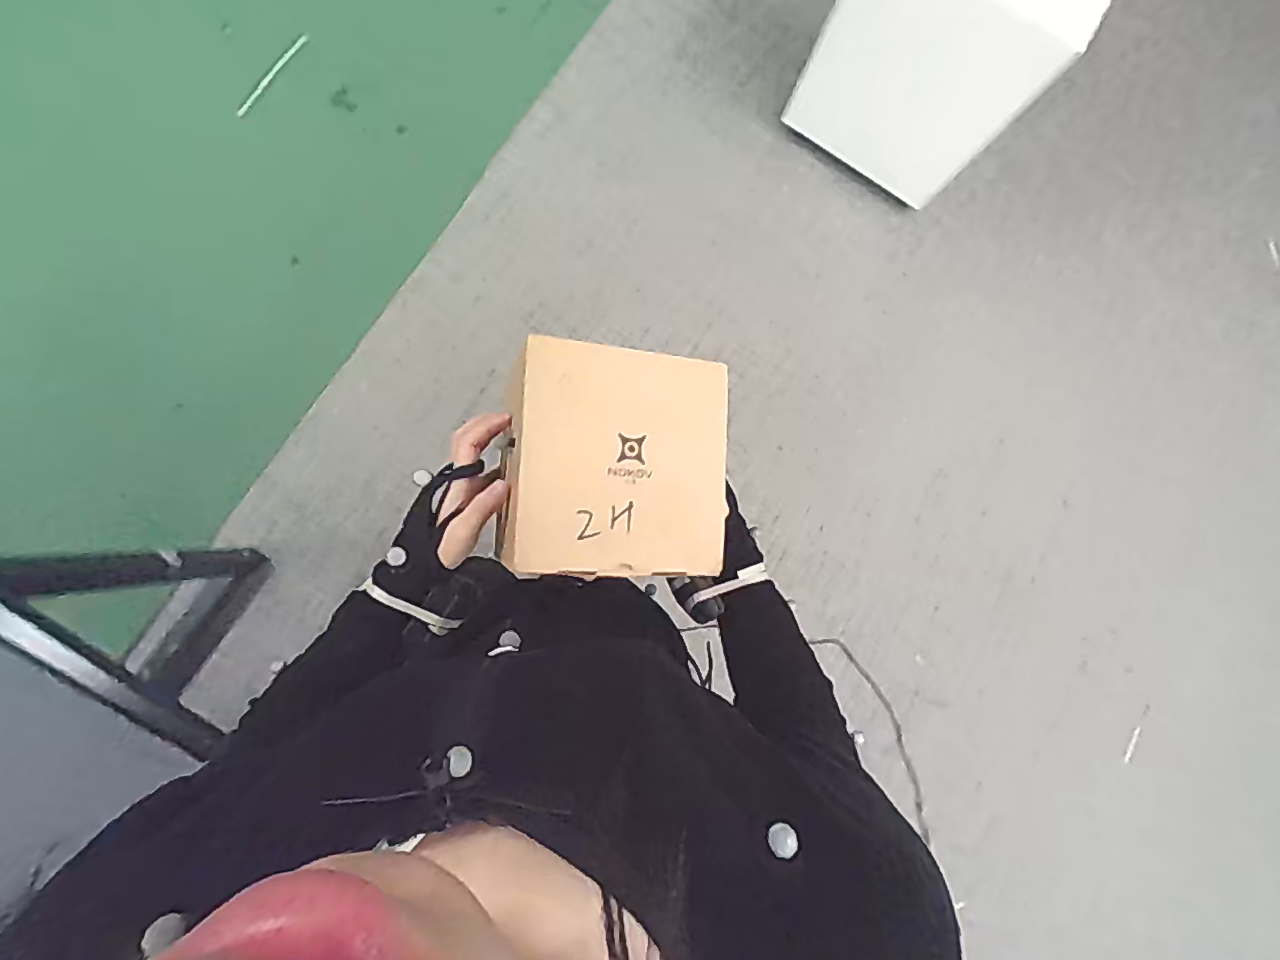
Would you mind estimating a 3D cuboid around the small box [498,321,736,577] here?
[{"bbox_3d":[-0.031,-0.014,0.471,0.168,0.176,0.179,5,85,-17],"label":"small box"}]
